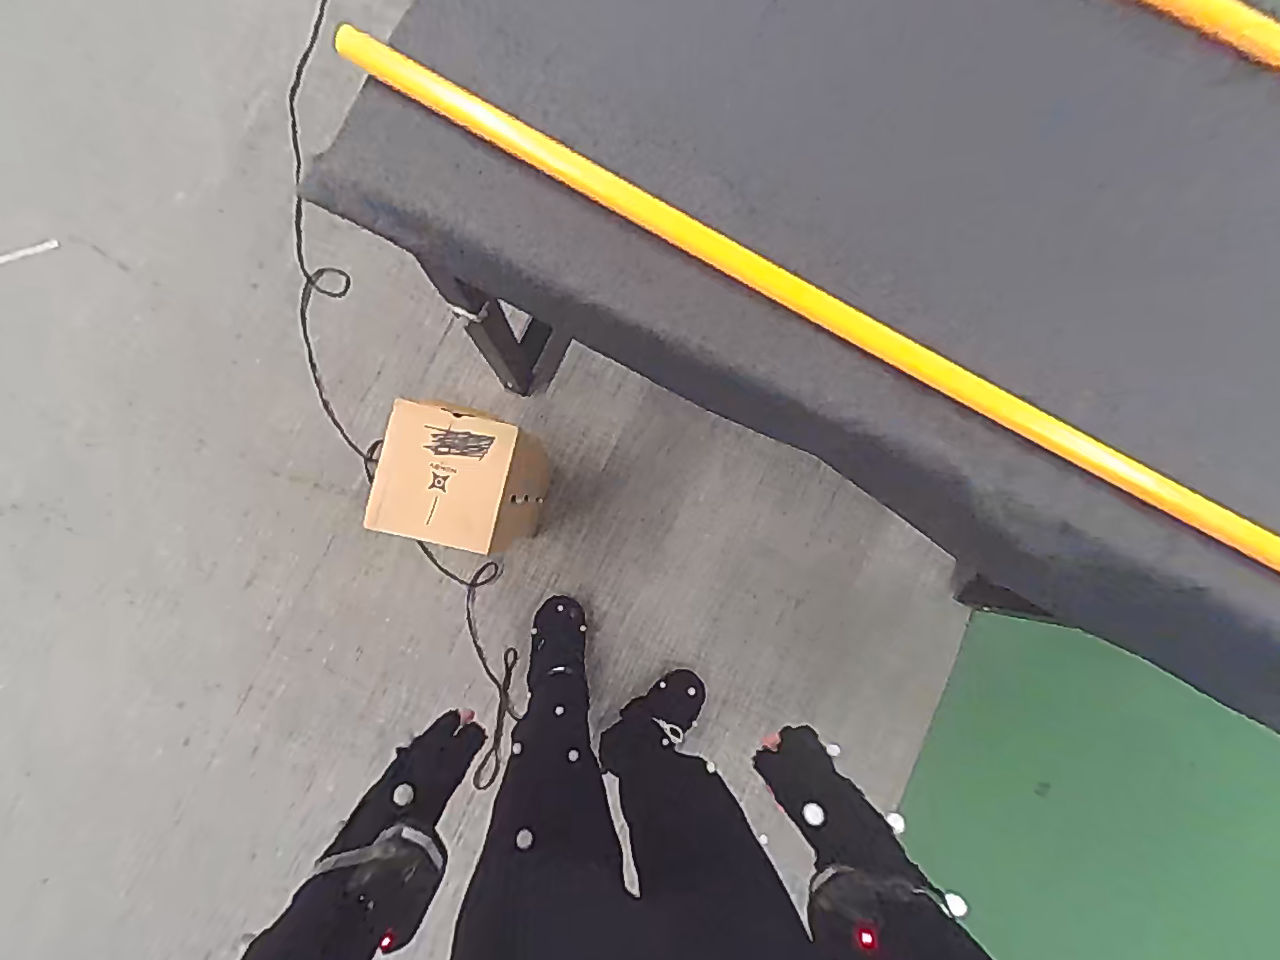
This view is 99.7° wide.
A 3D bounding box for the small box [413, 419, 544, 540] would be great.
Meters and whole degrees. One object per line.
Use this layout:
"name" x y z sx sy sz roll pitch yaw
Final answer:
"small box" -0.272 0.007 0.951 0.168 0.176 0.179 9 83 0
